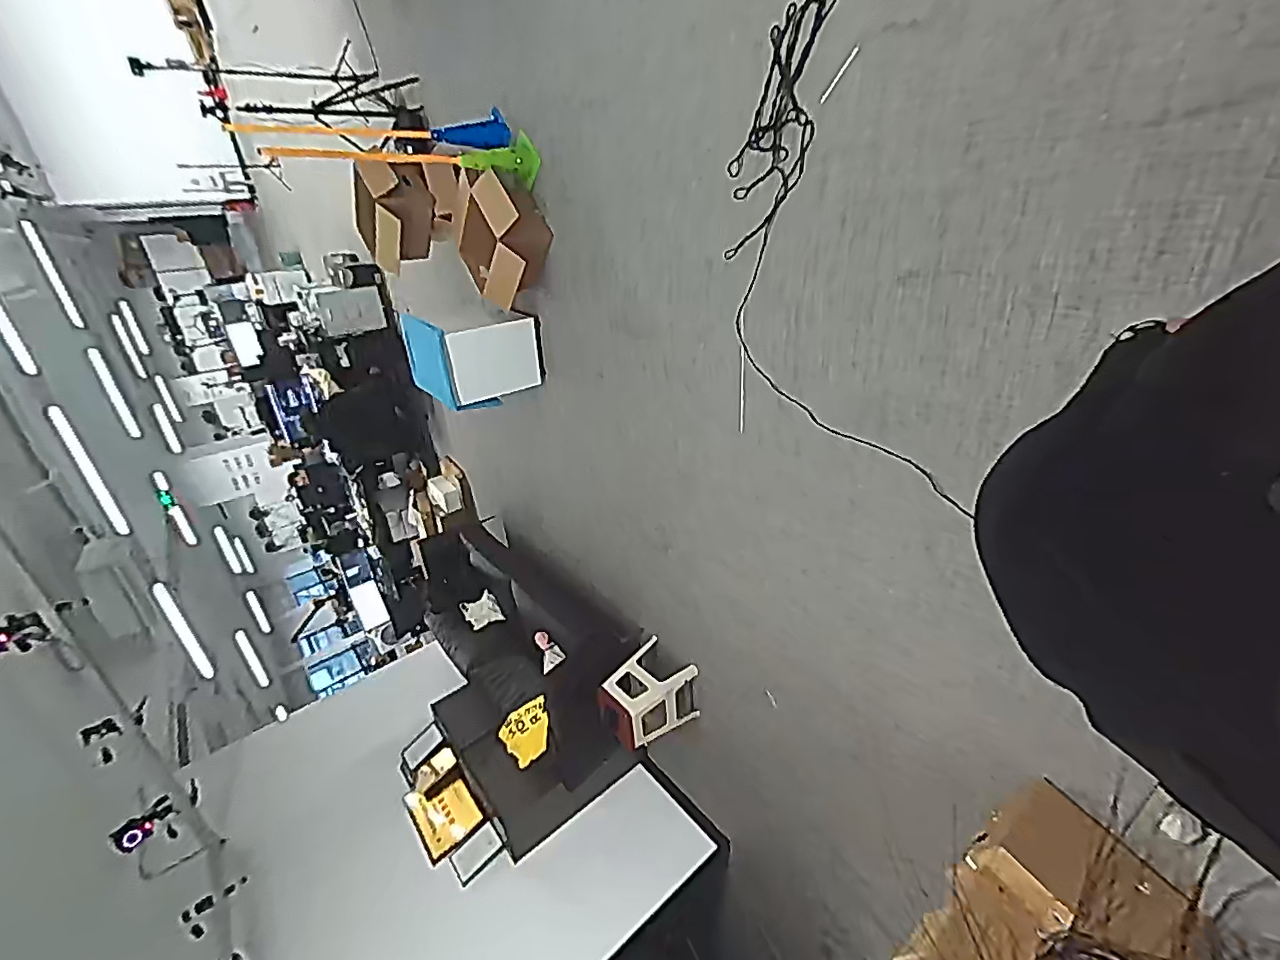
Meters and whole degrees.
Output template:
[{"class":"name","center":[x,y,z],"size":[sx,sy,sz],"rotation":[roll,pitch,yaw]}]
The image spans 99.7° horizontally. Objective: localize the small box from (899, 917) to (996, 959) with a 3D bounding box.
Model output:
[{"class":"small box","center":[0.813,1.284,1.408],"size":[0.179,0.176,0.168],"rotation":[44,142,30]}]

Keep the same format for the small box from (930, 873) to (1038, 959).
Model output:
[{"class":"small box","center":[0.945,1.235,1.489],"size":[0.168,0.176,0.179],"rotation":[44,142,32]}]
